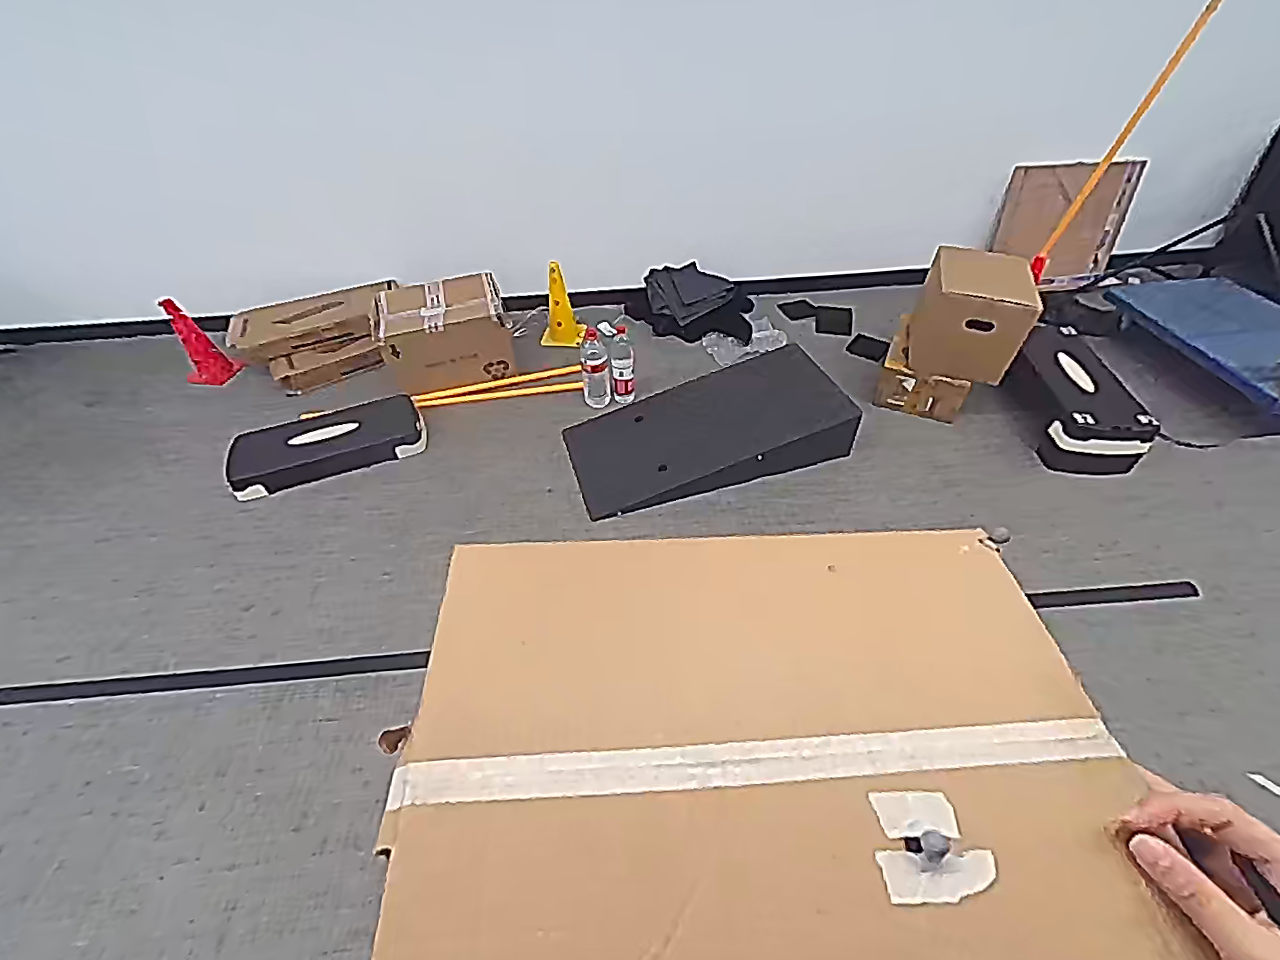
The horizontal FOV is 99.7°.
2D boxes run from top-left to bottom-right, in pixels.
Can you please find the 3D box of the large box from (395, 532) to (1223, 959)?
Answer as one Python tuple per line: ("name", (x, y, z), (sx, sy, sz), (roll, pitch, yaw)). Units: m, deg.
("large box", (0.068, 0.259, 0.427), (0.408, 0.320, 0.320), (-1, 48, -5))
